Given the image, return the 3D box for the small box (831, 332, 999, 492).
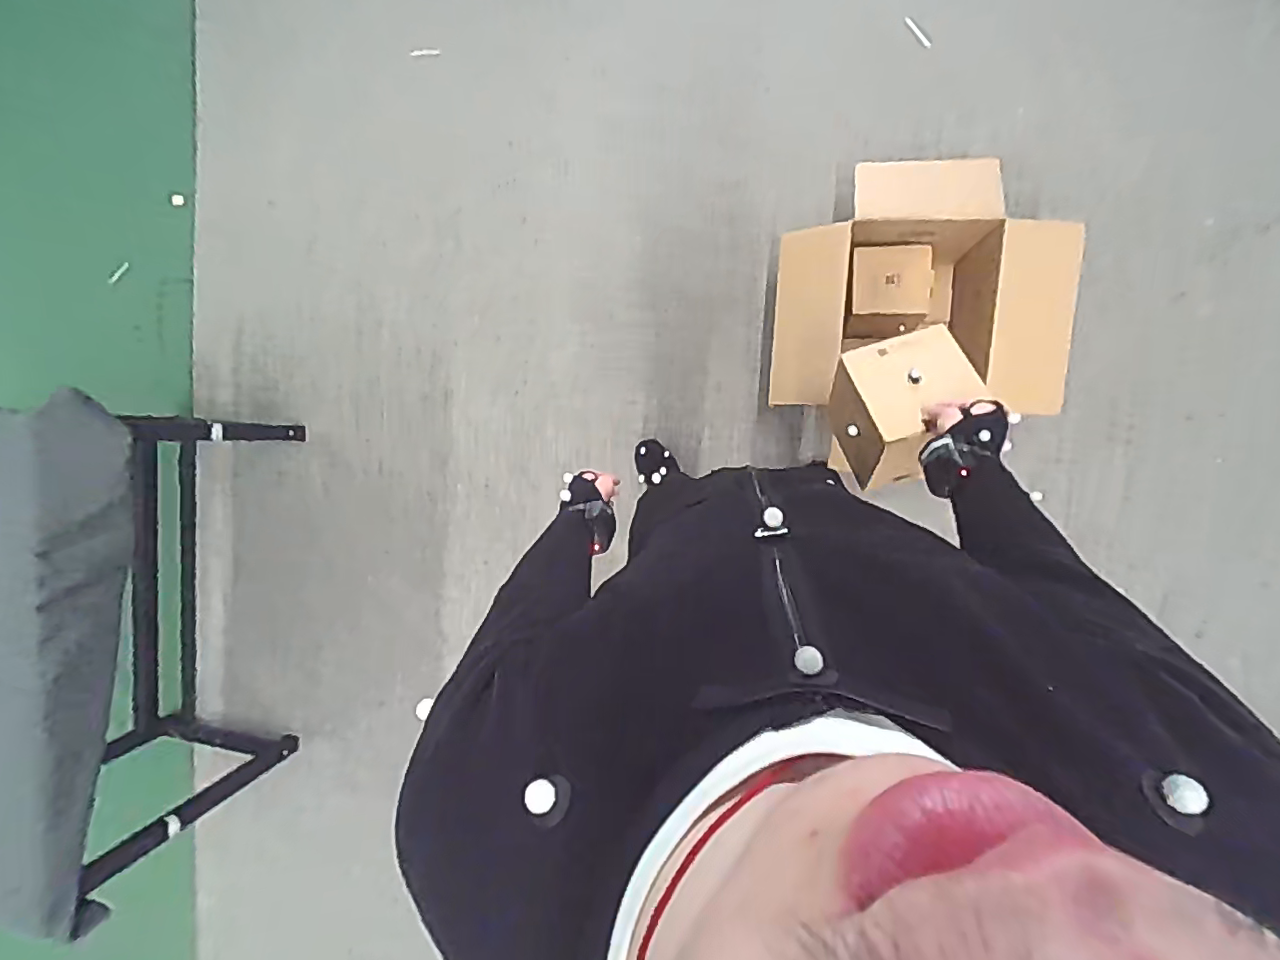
[{"bbox_3d":[0.421,-0.112,0.866,0.168,0.179,0.176,-20,62,5],"label":"small box"}]
